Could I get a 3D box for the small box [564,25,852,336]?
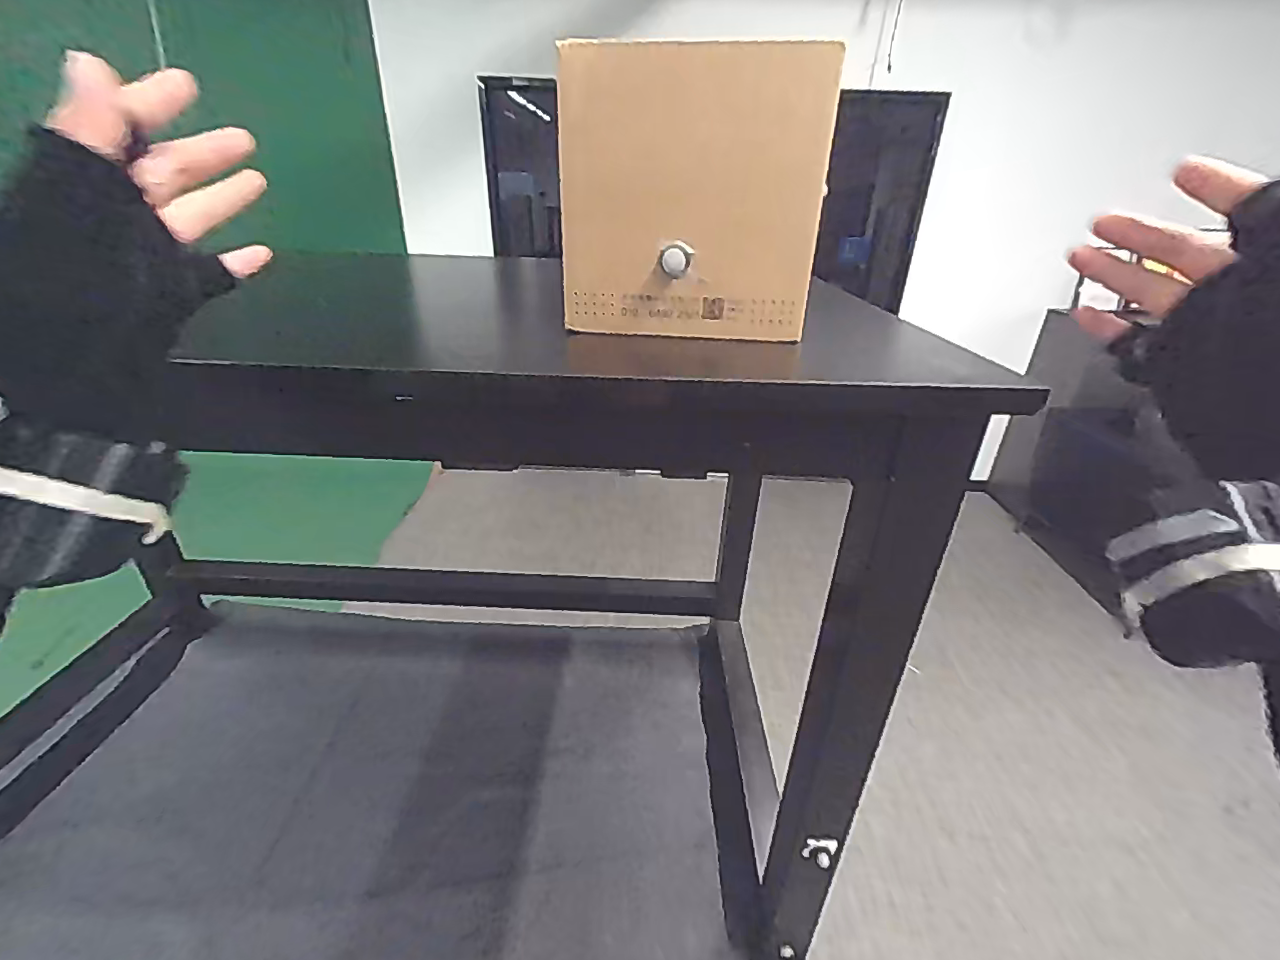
[{"bbox_3d":[0.044,-0.216,0.411,0.168,0.176,0.179,4,28,6],"label":"small box"}]
